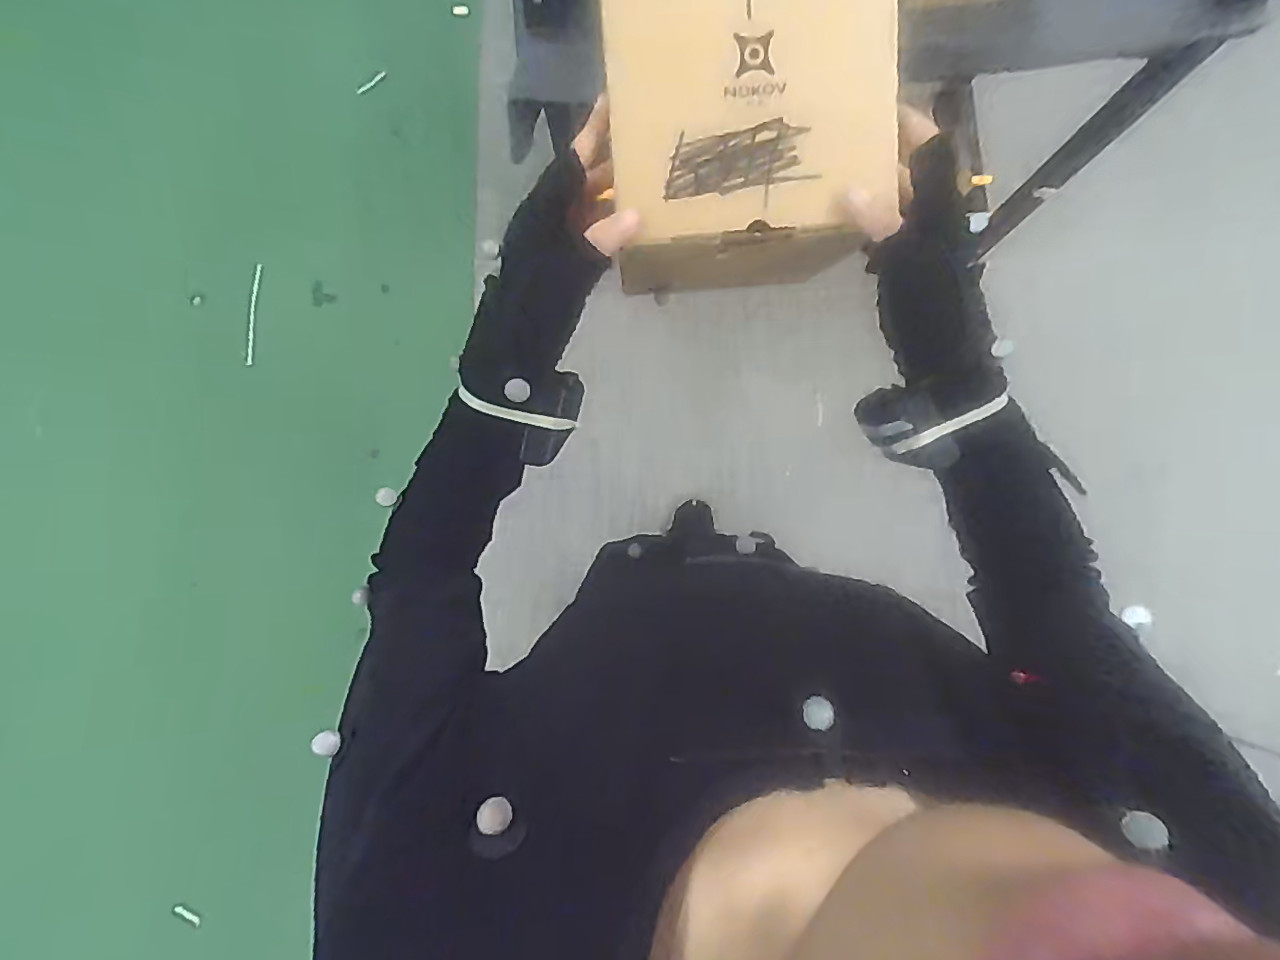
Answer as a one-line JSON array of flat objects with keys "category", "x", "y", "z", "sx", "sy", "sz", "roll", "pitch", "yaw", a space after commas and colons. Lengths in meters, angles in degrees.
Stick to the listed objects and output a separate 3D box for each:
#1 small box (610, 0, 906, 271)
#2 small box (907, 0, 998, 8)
[{"category": "small box", "x": 0.066, "y": -0.255, "z": 0.383, "sx": 0.168, "sy": 0.176, "sz": 0.179, "roll": -4, "pitch": 98, "yaw": -1}, {"category": "small box", "x": 0.508, "y": -0.877, "z": 0.823, "sx": 0.168, "sy": 0.176, "sz": 0.179, "roll": -4, "pitch": 81, "yaw": 0}]
